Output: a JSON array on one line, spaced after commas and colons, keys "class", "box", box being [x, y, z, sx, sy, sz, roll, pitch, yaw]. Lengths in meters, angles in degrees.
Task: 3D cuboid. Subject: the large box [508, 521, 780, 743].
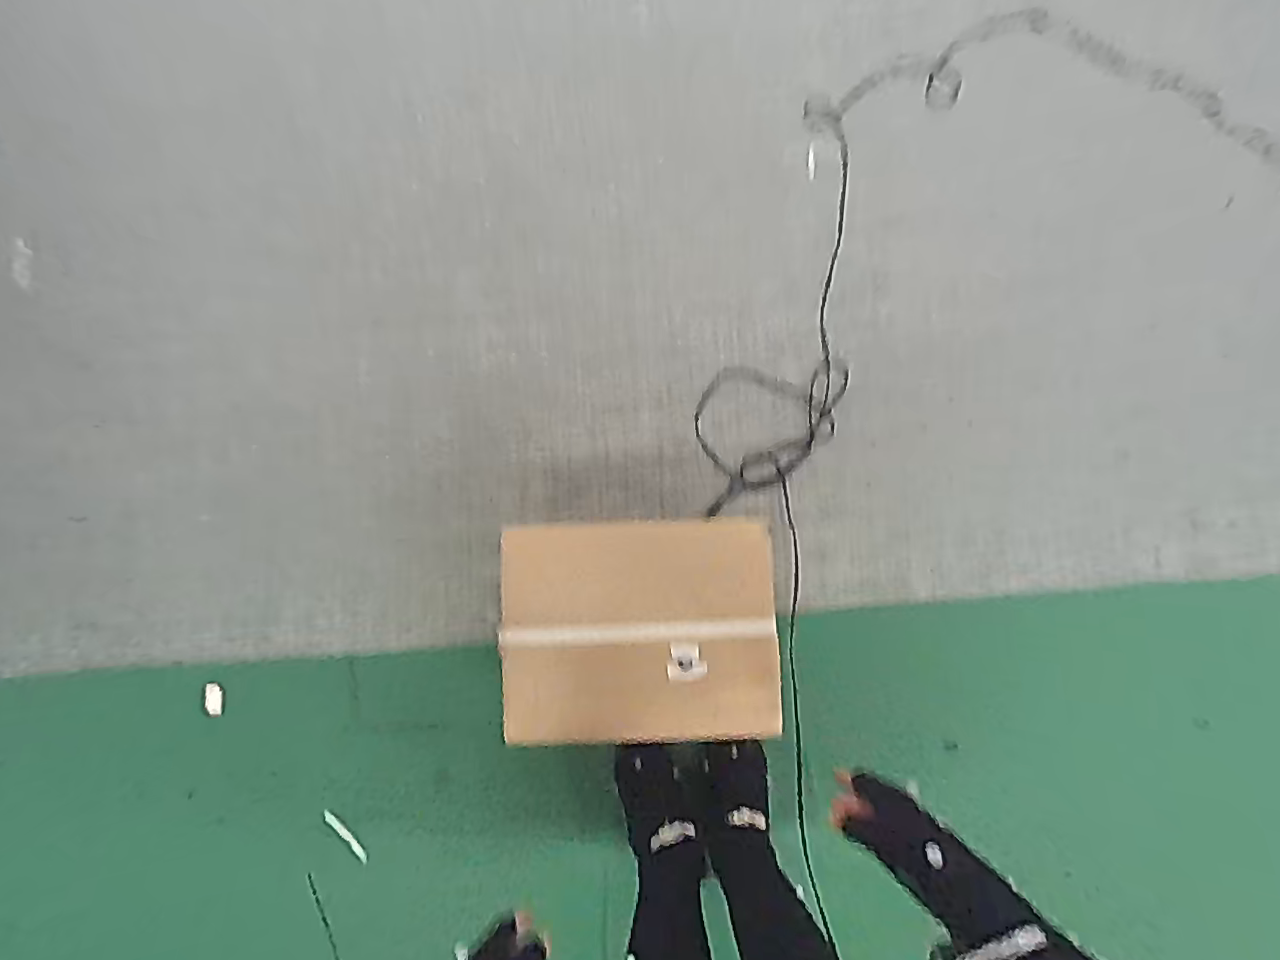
[{"class": "large box", "box": [0.000, 0.241, 0.957, 0.408, 0.320, 0.320, -2, 84, -1]}]
